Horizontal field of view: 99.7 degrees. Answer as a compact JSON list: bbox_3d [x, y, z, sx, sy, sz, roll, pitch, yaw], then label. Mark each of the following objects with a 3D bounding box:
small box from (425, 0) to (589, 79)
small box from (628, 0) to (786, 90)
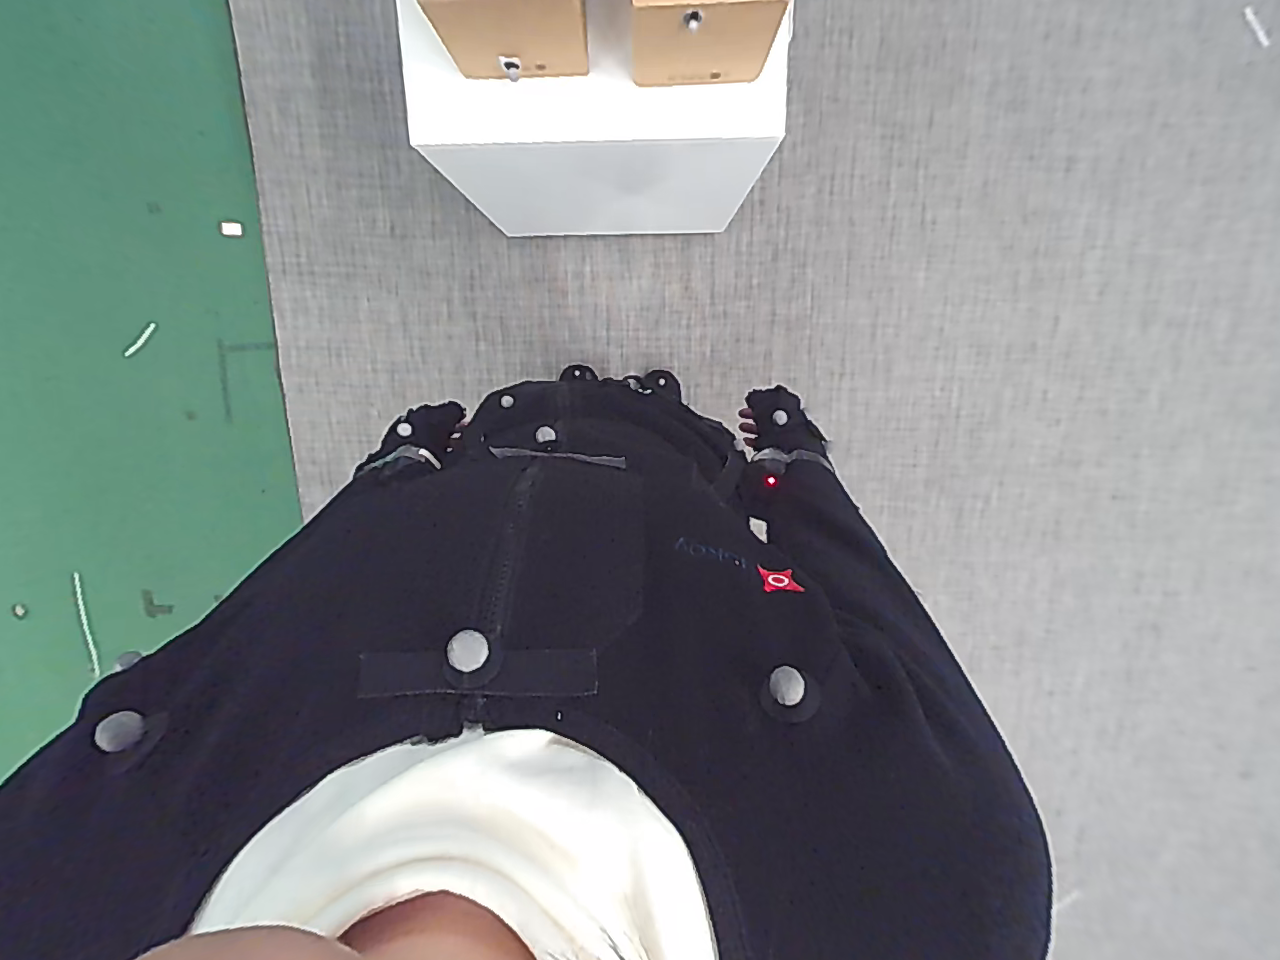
[{"bbox_3d":[-0.151,-0.596,0.610,0.168,0.176,0.179,-3,103,1],"label":"small box"},{"bbox_3d":[0.069,-0.591,0.623,0.168,0.176,0.179,-1,101,0],"label":"small box"}]
